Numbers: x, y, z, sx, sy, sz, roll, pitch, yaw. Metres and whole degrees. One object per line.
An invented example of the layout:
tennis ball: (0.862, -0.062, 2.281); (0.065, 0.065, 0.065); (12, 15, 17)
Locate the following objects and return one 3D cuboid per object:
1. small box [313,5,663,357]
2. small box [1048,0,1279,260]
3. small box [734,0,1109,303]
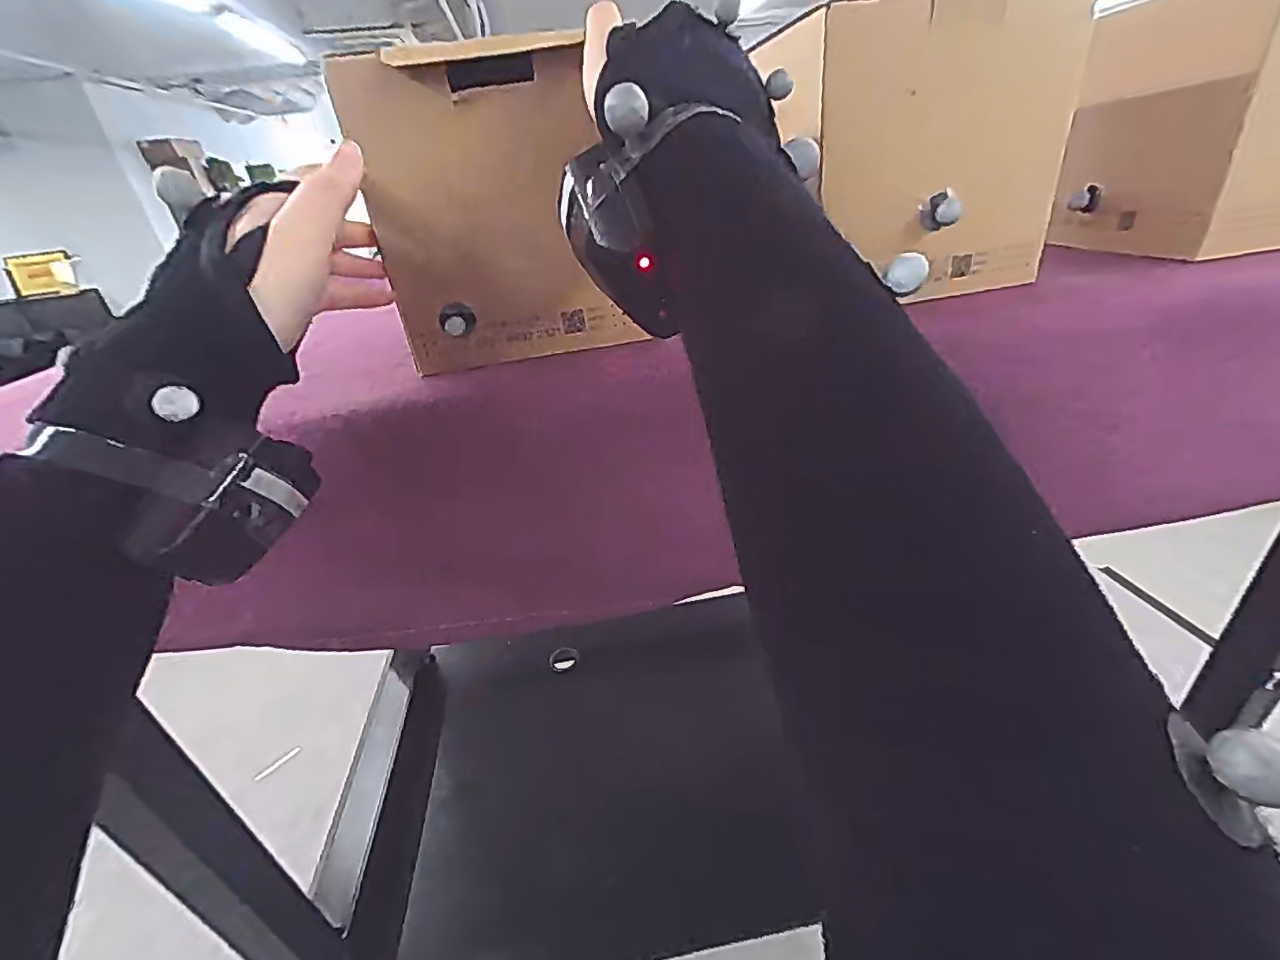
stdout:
small box: (-0.084, -0.191, 0.378); (0.168, 0.176, 0.179); (-10, 28, -6)
small box: (0.452, -0.271, 0.400); (0.179, 0.176, 0.168); (-9, 28, -2)
small box: (0.172, -0.233, 0.394); (0.168, 0.176, 0.179); (-10, 29, -5)
